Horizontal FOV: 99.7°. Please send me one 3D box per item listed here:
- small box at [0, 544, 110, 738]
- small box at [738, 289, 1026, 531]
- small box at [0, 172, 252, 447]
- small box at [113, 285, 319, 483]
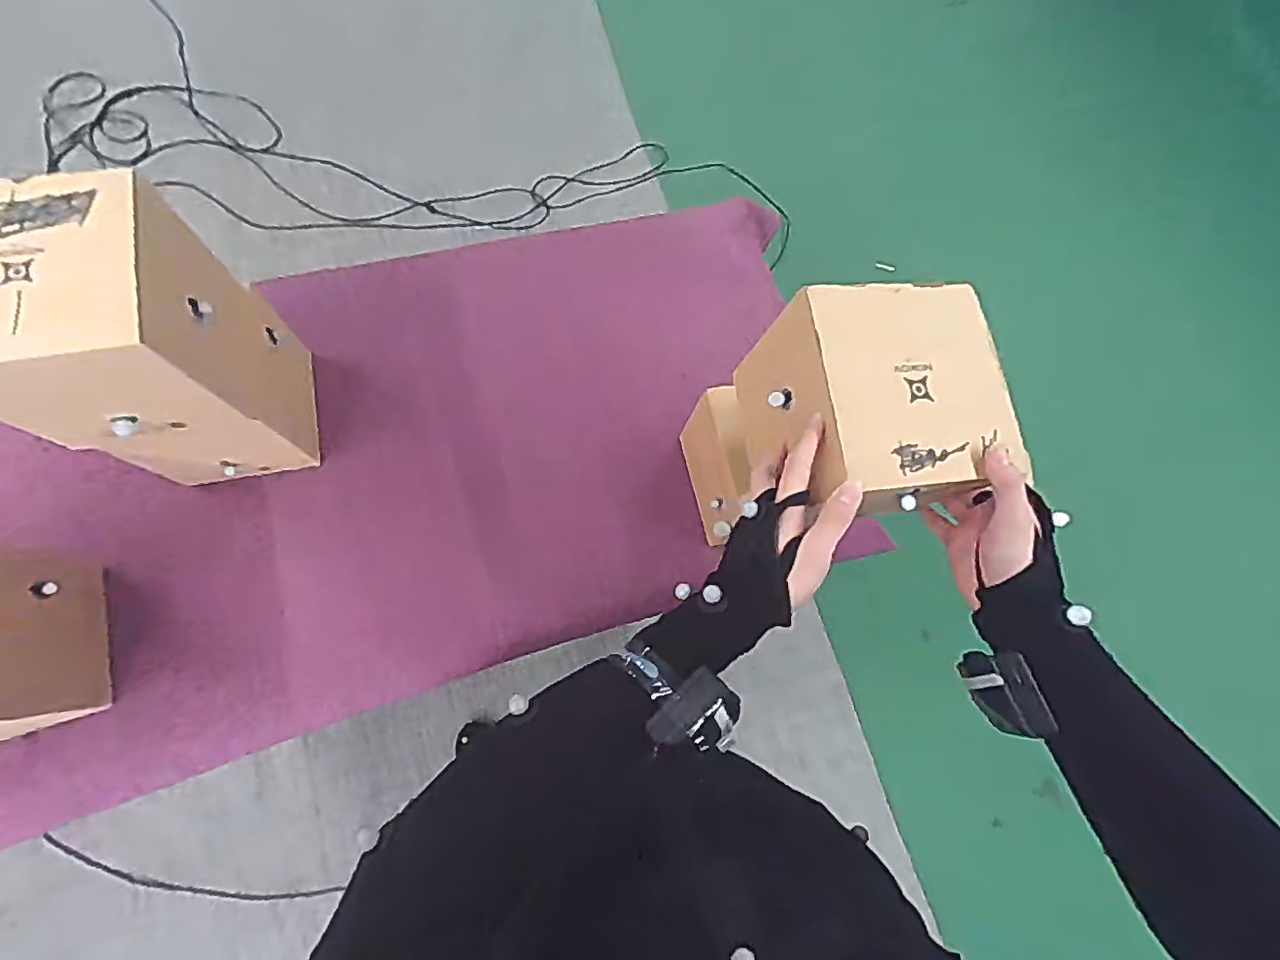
[{"bbox_3d":[-0.703,0.178,0.555,0.168,0.176,0.179,-15,76,-12],"label":"small box"},{"bbox_3d":[0.205,-0.057,0.512,0.168,0.176,0.179,-5,76,-12],"label":"small box"},{"bbox_3d":[-0.500,-0.149,0.508,0.168,0.176,0.179,-11,77,-11],"label":"small box"},{"bbox_3d":[-0.520,-0.111,0.666,0.168,0.176,0.179,-10,76,-11],"label":"small box"}]
